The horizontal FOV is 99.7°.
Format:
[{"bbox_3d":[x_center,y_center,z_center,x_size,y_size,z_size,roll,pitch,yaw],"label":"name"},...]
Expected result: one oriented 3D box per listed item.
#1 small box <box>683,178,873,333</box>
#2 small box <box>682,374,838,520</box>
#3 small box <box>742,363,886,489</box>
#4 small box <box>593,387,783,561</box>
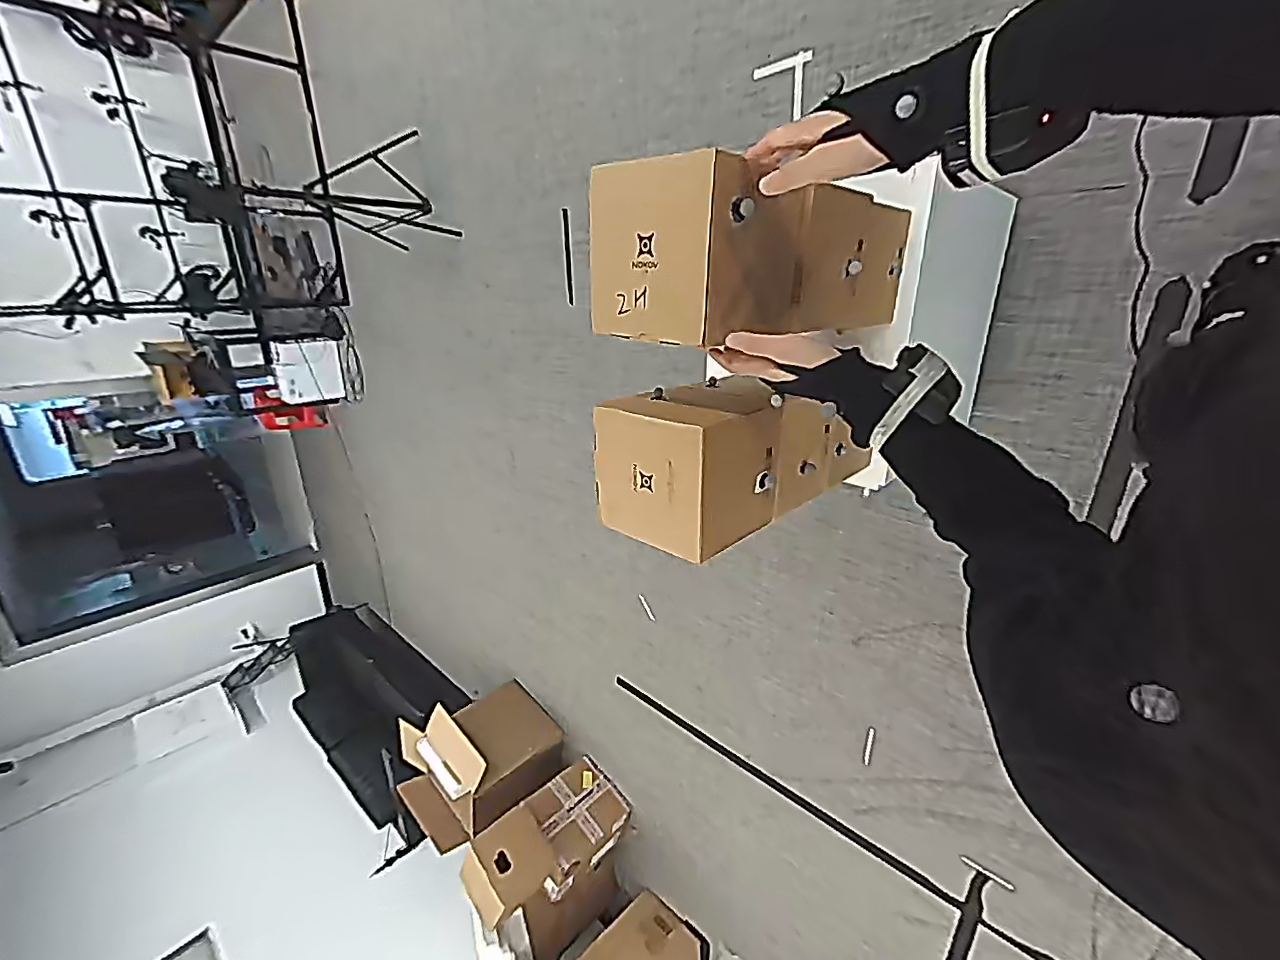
[{"bbox_3d":[0.178,-0.291,0.713,0.179,0.176,0.168,20,119,39],"label":"small box"},{"bbox_3d":[0.175,-0.061,0.807,0.179,0.176,0.168,17,117,41],"label":"small box"},{"bbox_3d":[0.286,-0.102,0.918,0.179,0.176,0.168,19,119,41],"label":"small box"},{"bbox_3d":[0.061,-0.022,0.698,0.179,0.176,0.168,16,117,41],"label":"small box"}]
